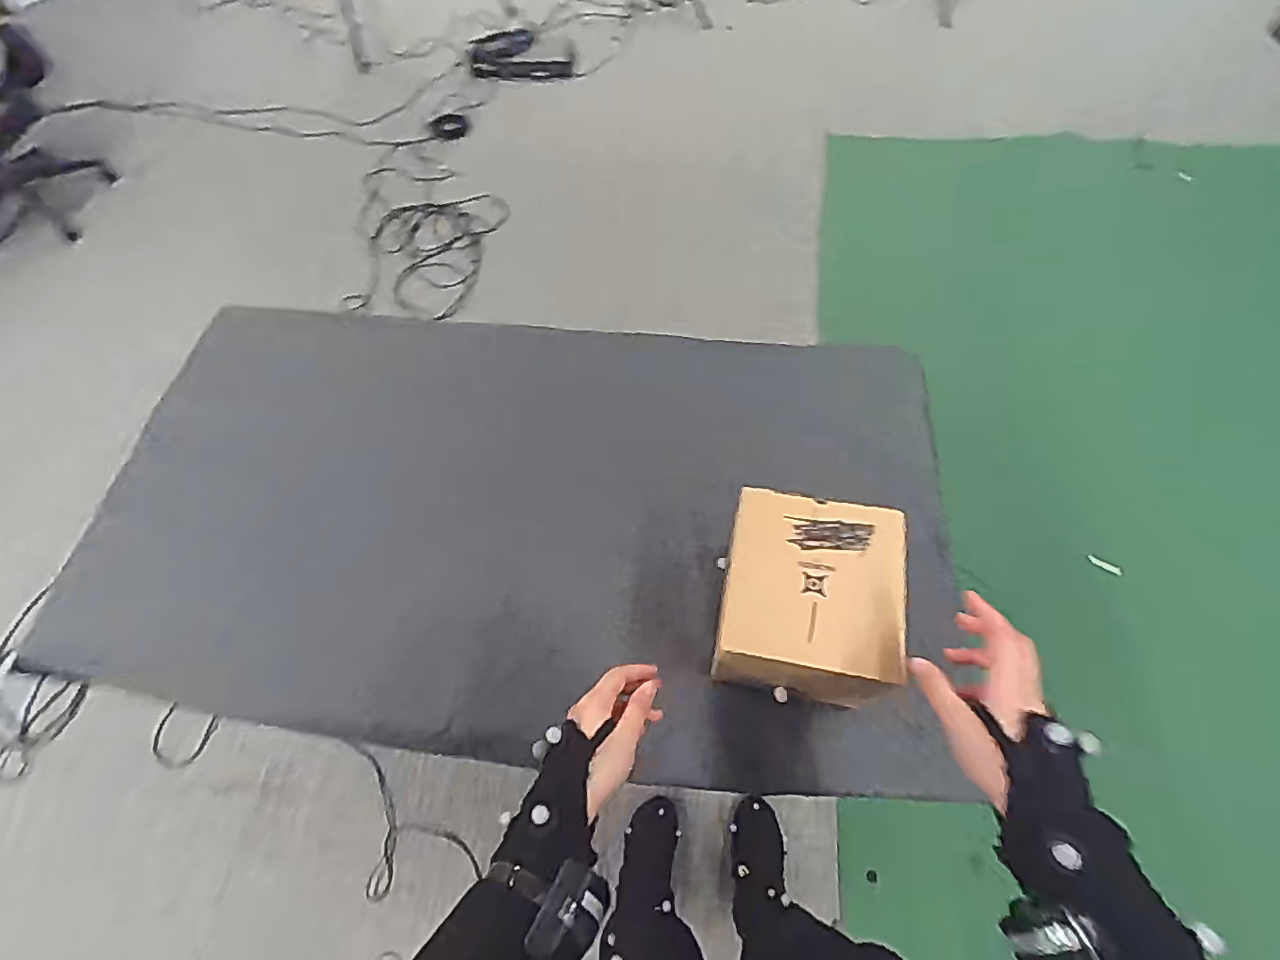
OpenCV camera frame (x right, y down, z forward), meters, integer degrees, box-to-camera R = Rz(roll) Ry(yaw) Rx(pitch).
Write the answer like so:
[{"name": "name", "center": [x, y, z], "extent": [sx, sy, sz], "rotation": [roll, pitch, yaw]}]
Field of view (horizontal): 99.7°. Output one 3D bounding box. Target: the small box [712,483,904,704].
[{"name": "small box", "center": [0.174, 0.129, 0.591], "extent": [0.168, 0.176, 0.179], "rotation": [9, 63, 10]}]
